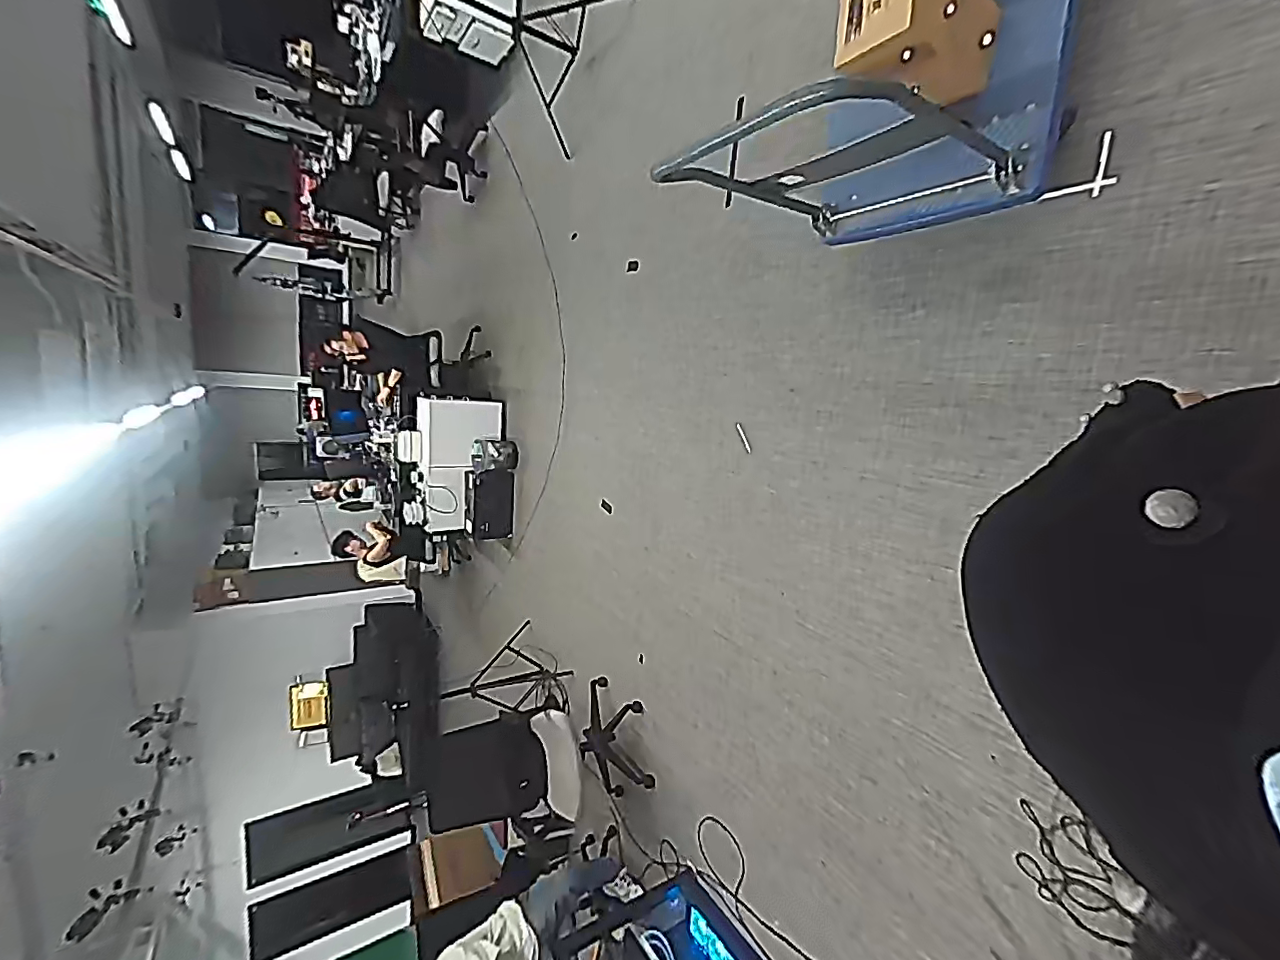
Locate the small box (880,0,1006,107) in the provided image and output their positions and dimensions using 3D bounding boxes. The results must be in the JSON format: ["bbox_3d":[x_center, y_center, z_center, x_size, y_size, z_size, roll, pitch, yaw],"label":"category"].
[{"bbox_3d":[0.685,-0.984,1.226,0.179,0.176,0.168,22,111,53],"label":"small box"}]
